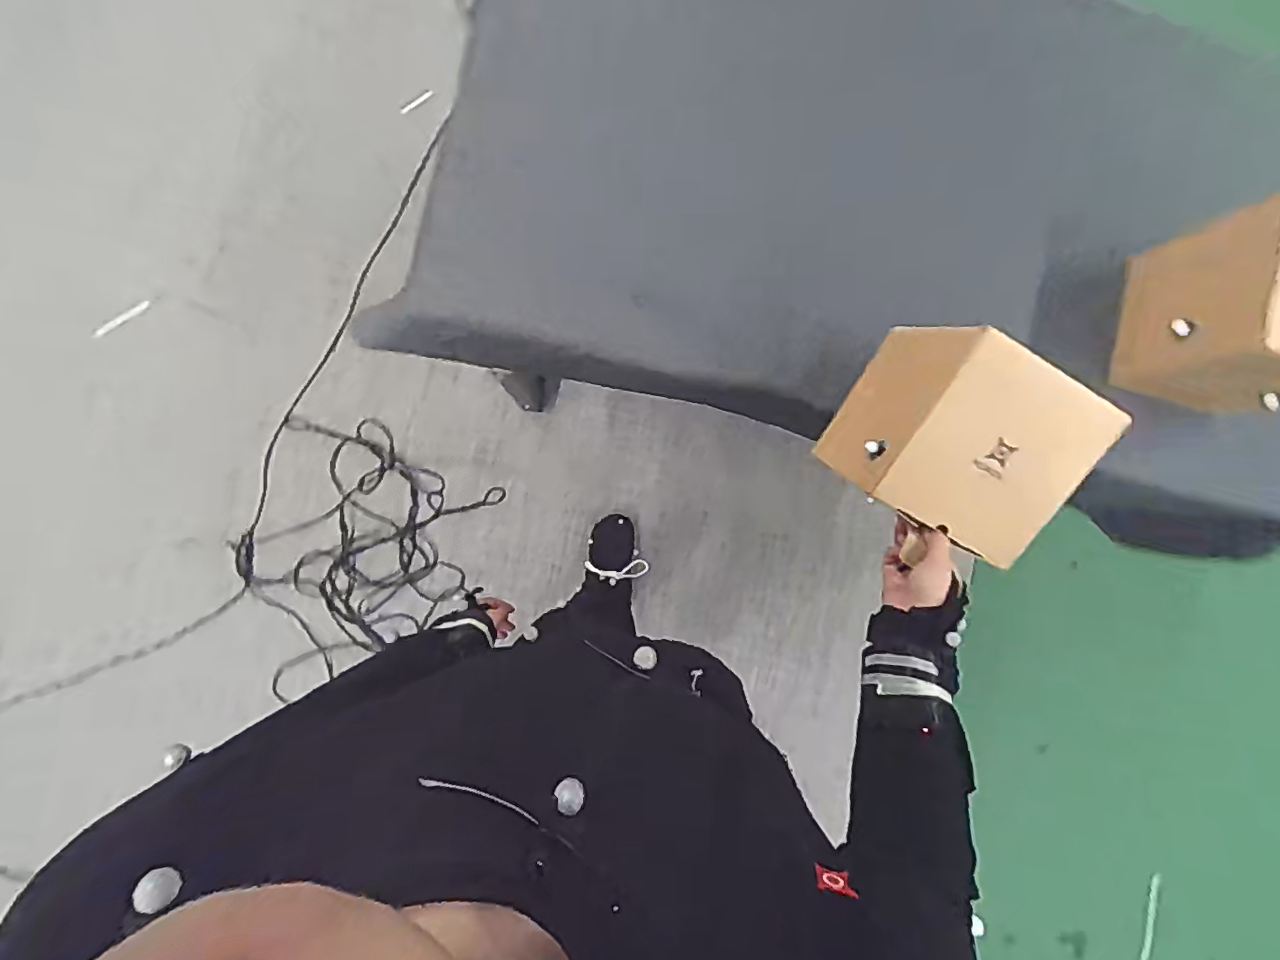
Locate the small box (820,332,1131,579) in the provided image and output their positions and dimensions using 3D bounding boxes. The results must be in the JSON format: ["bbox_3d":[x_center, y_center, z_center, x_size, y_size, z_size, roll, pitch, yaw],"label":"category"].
[{"bbox_3d":[0.316,-0.037,0.553,0.168,0.176,0.179,27,104,-10],"label":"small box"}]

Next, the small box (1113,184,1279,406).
[{"bbox_3d":[0.700,-0.195,0.621,0.168,0.176,0.179,13,85,-5],"label":"small box"}]
